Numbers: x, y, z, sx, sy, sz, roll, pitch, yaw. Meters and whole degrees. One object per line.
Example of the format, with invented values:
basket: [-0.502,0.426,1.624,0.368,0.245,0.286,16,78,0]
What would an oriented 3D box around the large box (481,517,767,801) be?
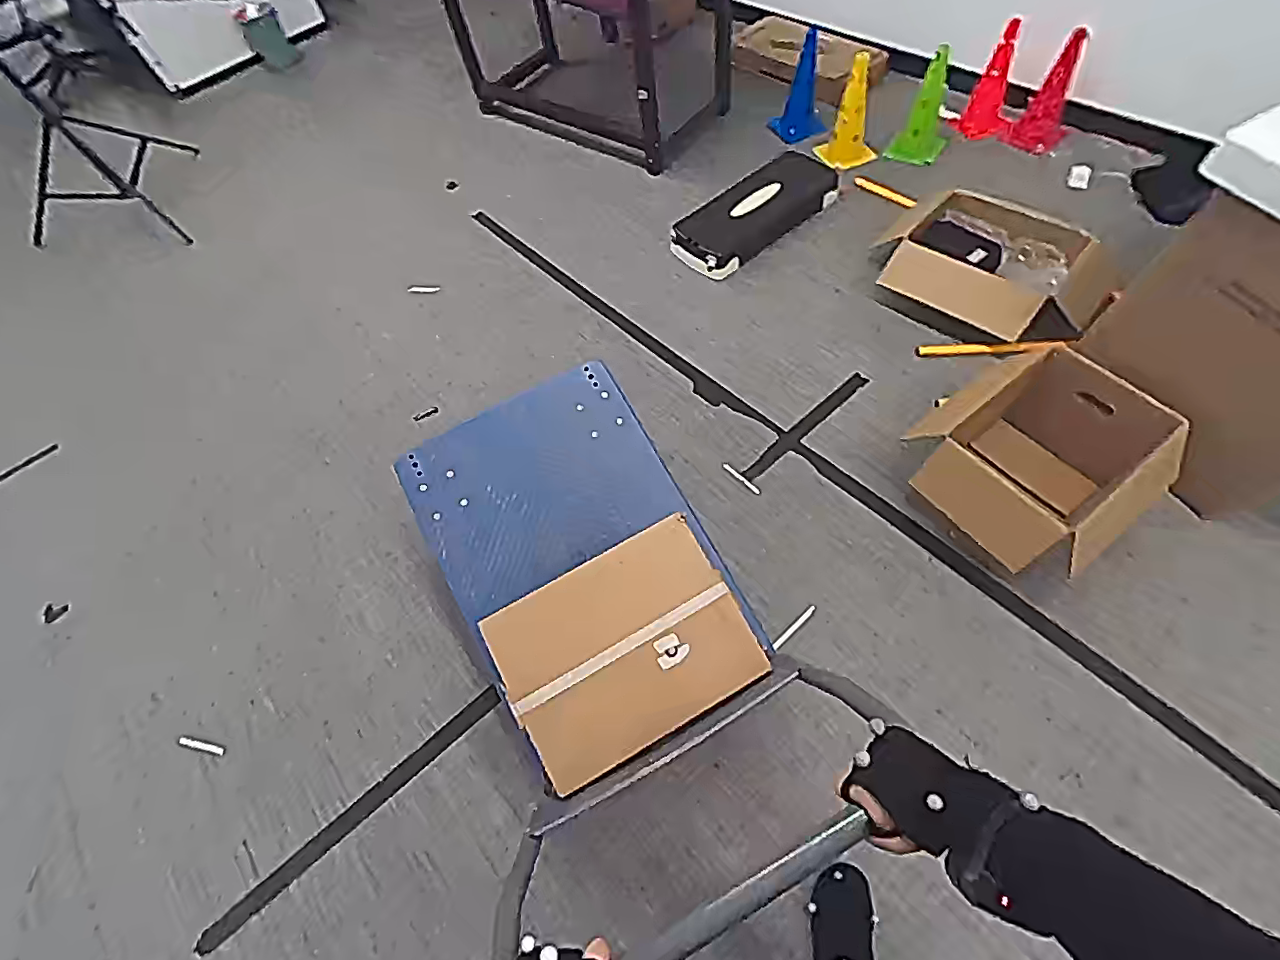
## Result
large box: [-0.032,0.327,1.055,0.408,0.320,0.320,-28,78,-8]
